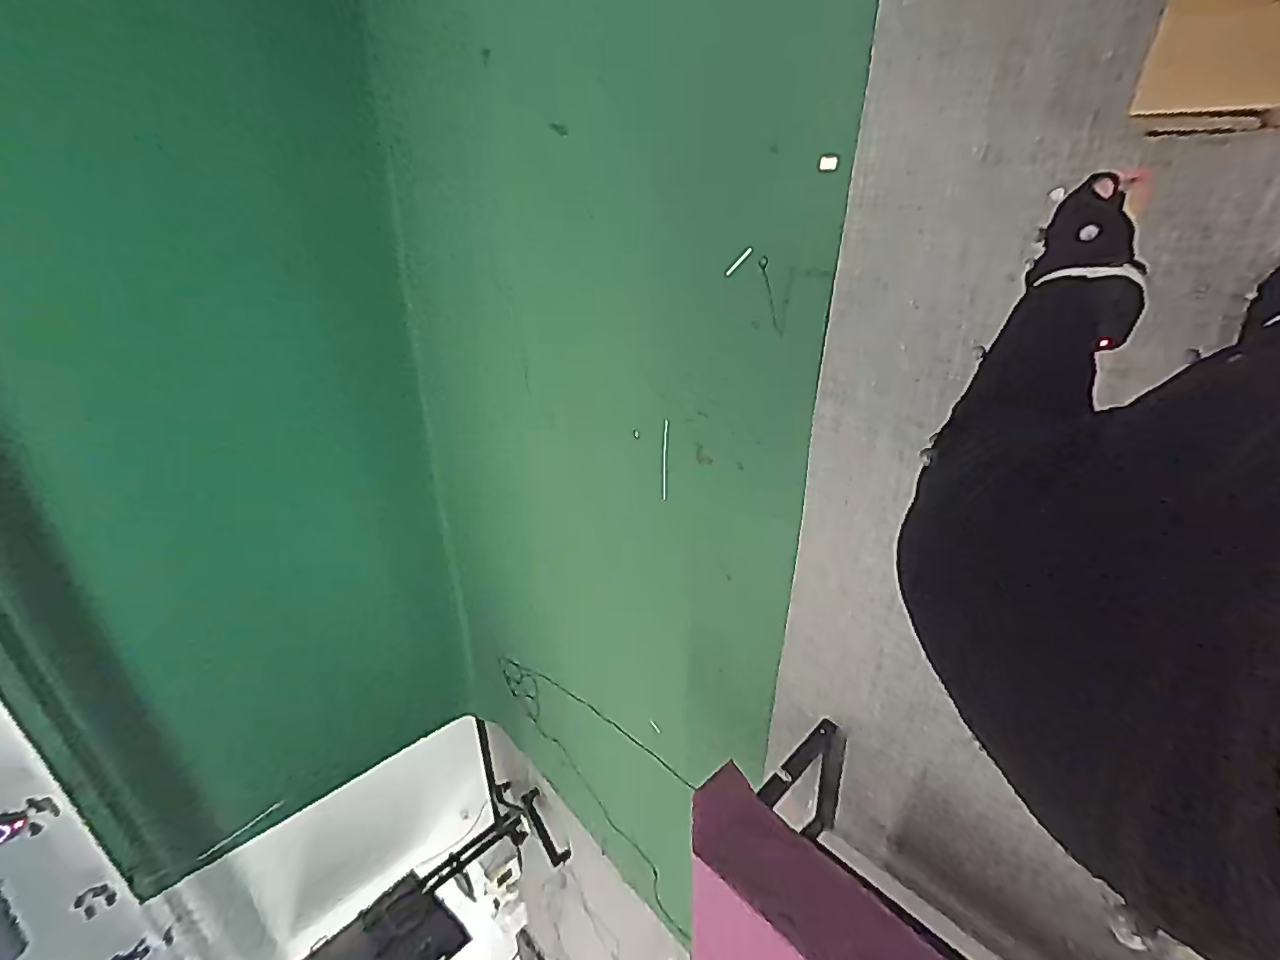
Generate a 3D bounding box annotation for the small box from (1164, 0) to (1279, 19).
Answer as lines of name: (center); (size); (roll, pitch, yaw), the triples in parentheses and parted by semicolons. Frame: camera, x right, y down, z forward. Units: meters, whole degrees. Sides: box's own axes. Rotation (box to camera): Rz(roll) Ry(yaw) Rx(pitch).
small box: (0.755, -0.672, 0.628); (0.168, 0.176, 0.179); (28, 124, 40)
